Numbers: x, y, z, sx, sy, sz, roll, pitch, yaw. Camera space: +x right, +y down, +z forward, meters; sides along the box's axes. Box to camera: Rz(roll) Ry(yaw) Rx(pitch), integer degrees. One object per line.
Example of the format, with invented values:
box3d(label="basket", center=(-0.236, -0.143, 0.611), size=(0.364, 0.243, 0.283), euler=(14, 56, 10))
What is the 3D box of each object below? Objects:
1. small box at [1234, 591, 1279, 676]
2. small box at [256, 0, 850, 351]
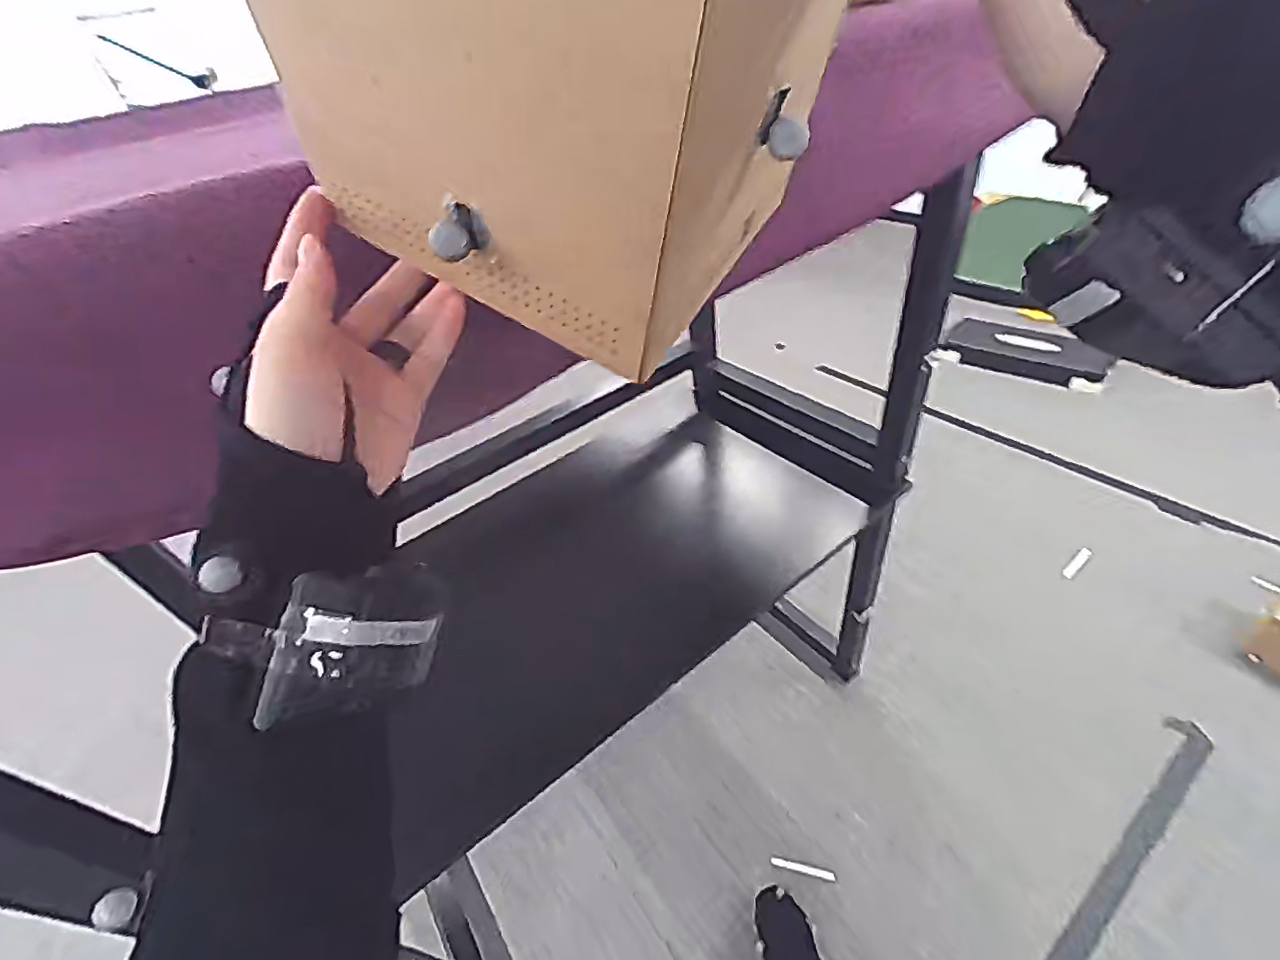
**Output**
box3d(label="small box", center=(1.663, 0.393, 1.355), size=(0.179, 0.176, 0.168), euler=(-30, 45, -22))
box3d(label="small box", center=(-0.021, -0.180, 0.215), size=(0.179, 0.176, 0.168), euler=(29, 61, 8))
